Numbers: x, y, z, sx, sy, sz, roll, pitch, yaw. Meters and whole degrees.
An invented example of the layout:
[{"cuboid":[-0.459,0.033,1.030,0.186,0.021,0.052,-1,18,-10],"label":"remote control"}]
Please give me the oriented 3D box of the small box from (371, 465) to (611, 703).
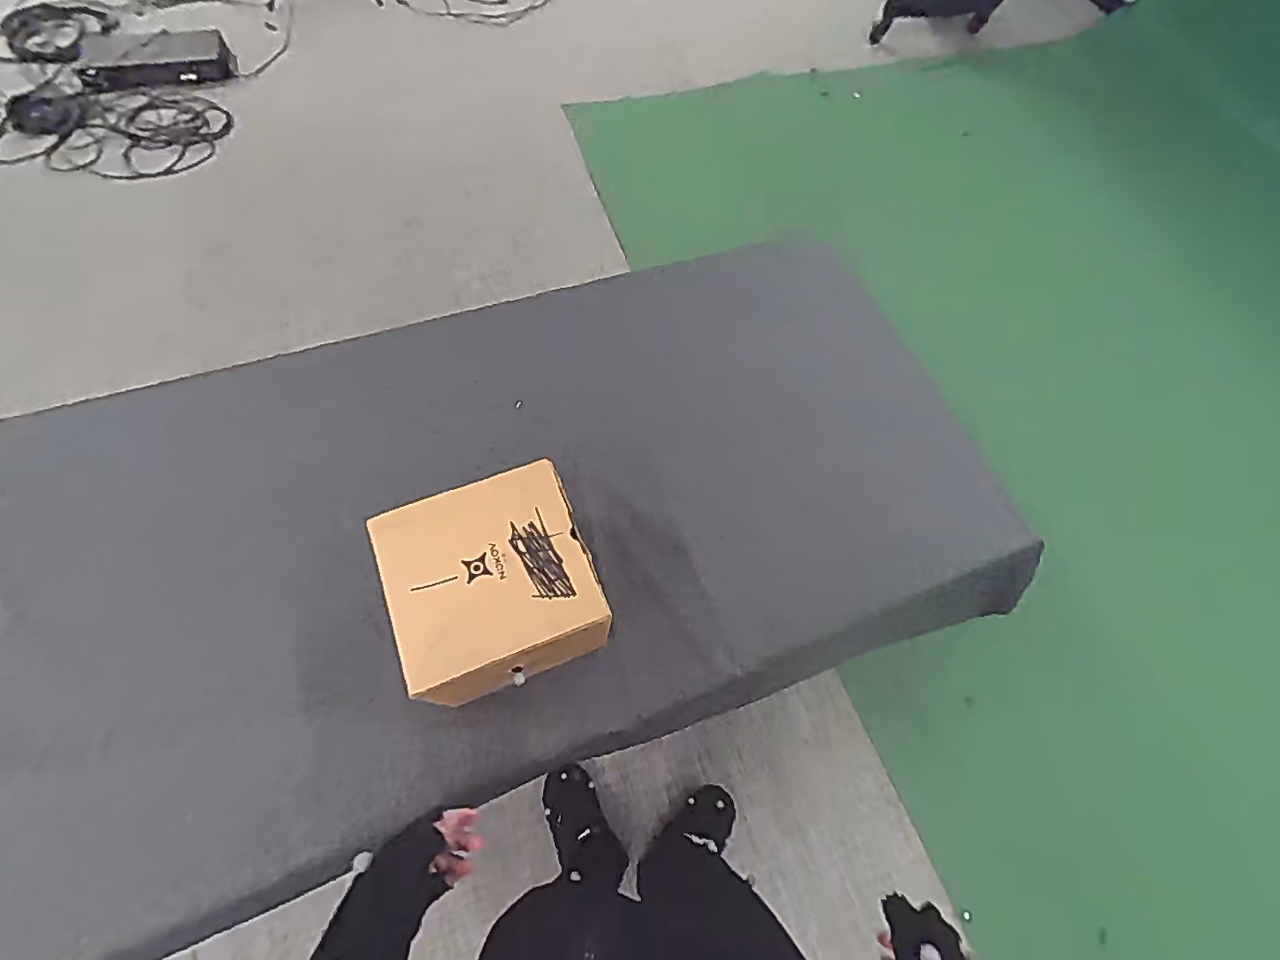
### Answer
[{"cuboid":[-0.142,0.112,0.552,0.179,0.176,0.168,-19,68,-13],"label":"small box"}]
